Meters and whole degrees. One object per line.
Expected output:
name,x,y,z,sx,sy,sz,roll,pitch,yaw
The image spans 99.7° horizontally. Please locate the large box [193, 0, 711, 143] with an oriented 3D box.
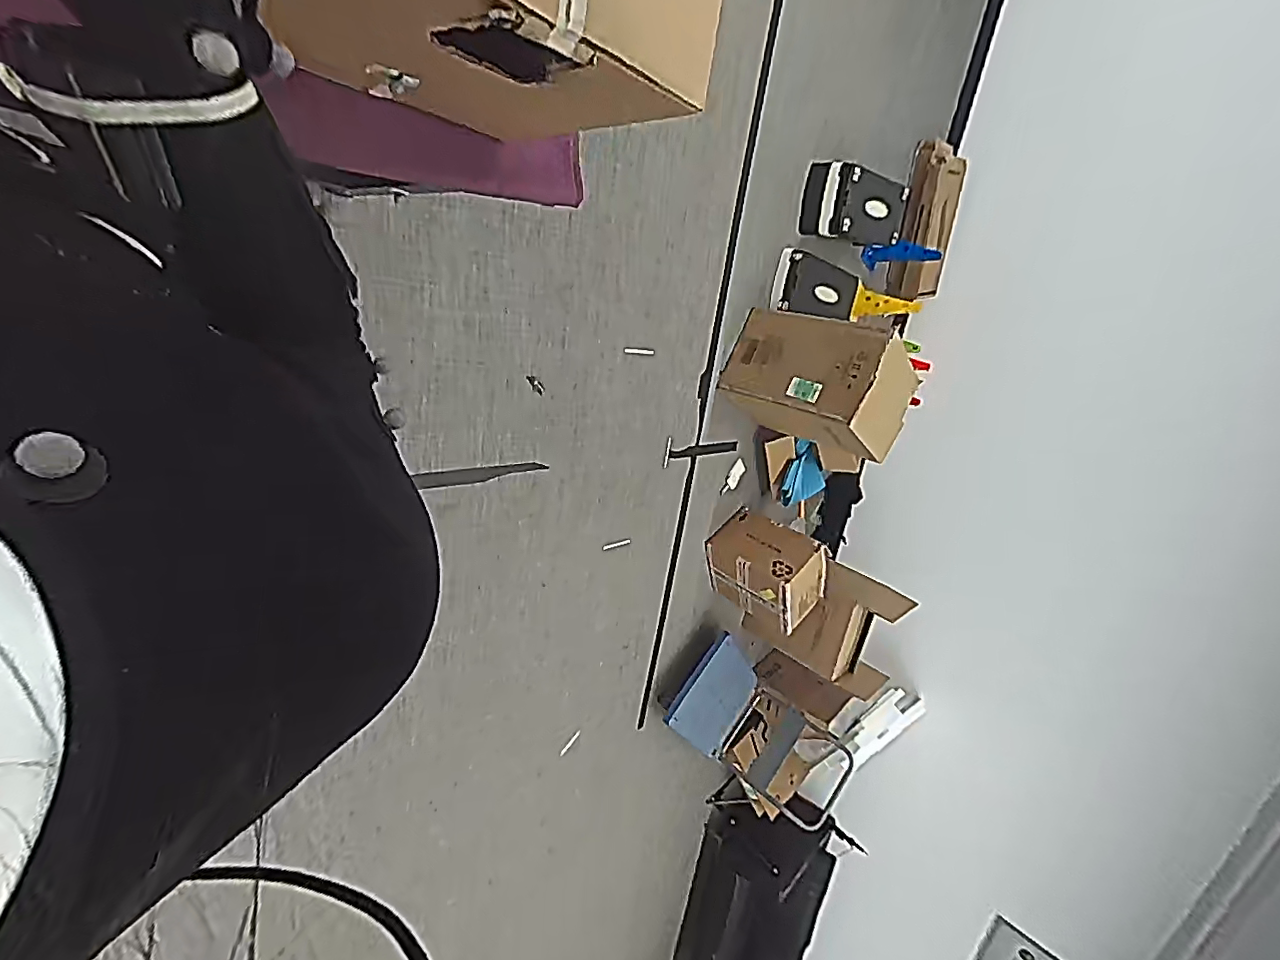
large box,-0.138,-0.528,0.400,0.320,0.320,0.408,-11,116,-46
